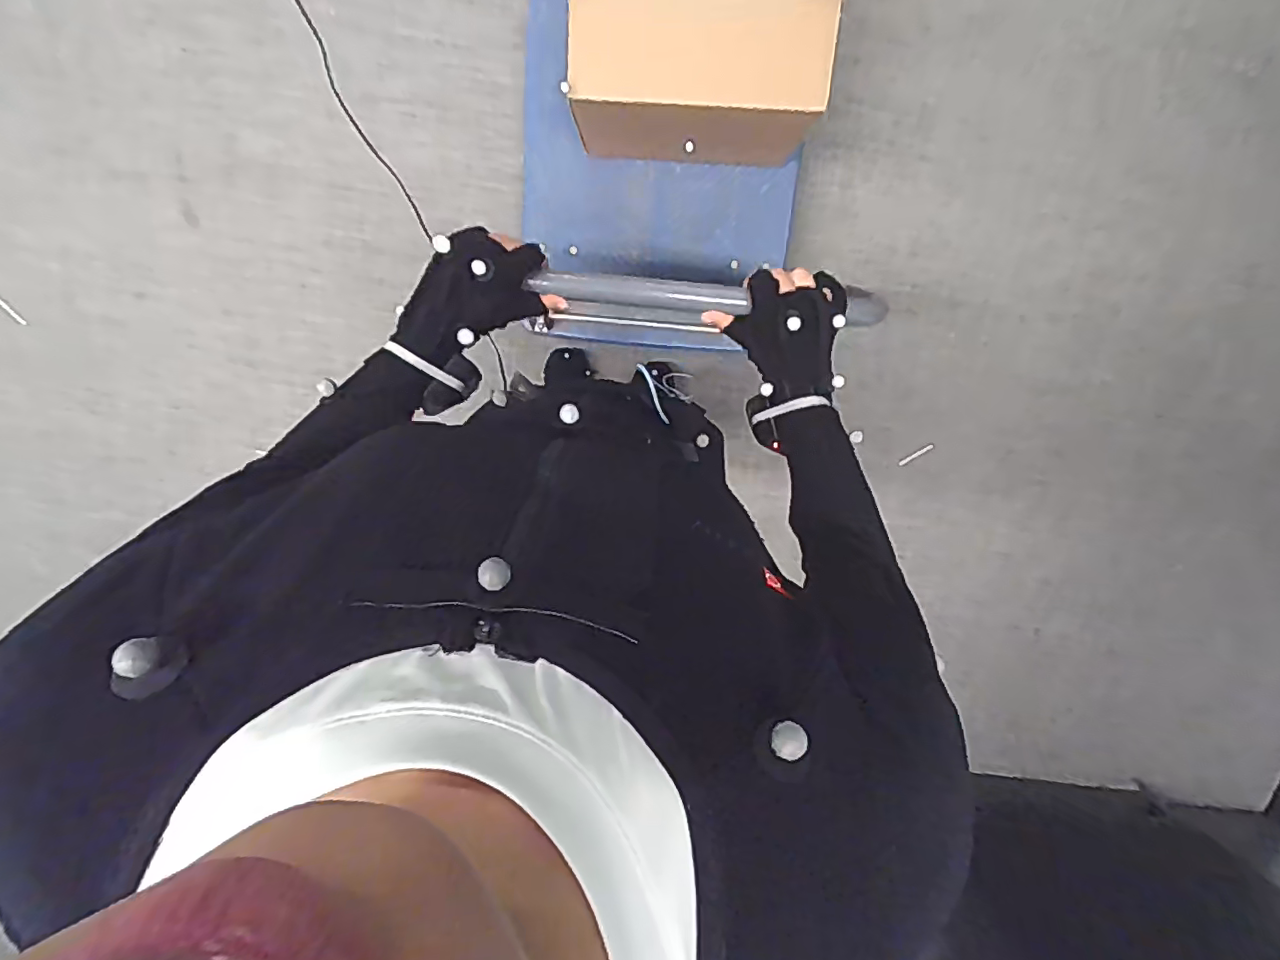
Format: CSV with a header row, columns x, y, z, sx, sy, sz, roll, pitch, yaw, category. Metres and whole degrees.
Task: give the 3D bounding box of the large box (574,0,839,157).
x,y,z,sx,sy,sz,roll,pitch,yaw,category
0.104,-0.777,0.943,0.408,0.320,0.320,2,106,1,large box
